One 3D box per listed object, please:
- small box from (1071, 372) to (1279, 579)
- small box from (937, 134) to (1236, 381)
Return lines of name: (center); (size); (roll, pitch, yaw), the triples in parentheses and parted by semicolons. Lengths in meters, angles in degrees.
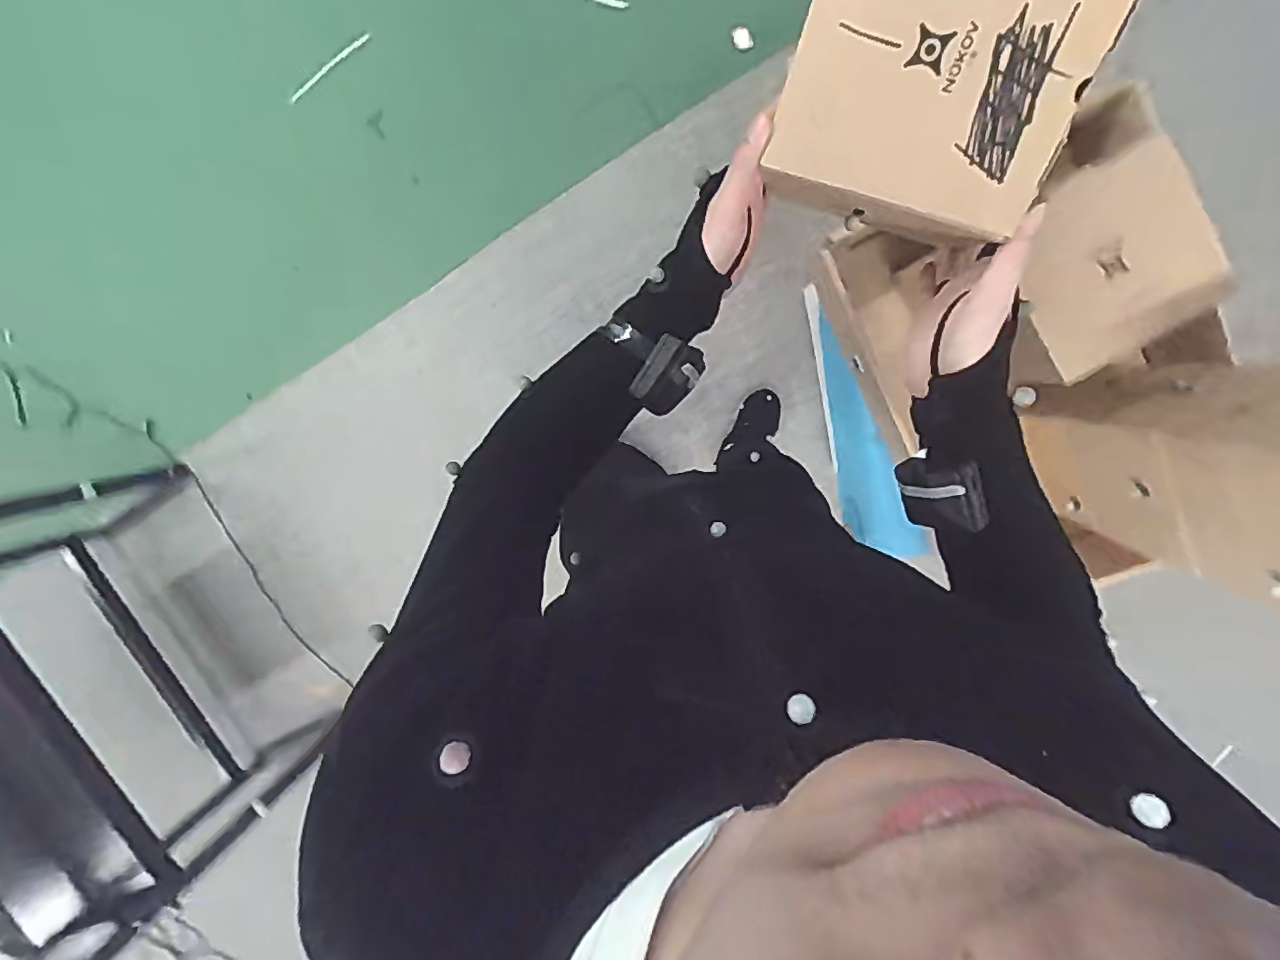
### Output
small box: (0.645, -0.017, 0.620); (0.168, 0.176, 0.179); (-21, 99, 14)
small box: (0.469, -0.227, 0.601); (0.168, 0.176, 0.179); (-29, 98, 14)
